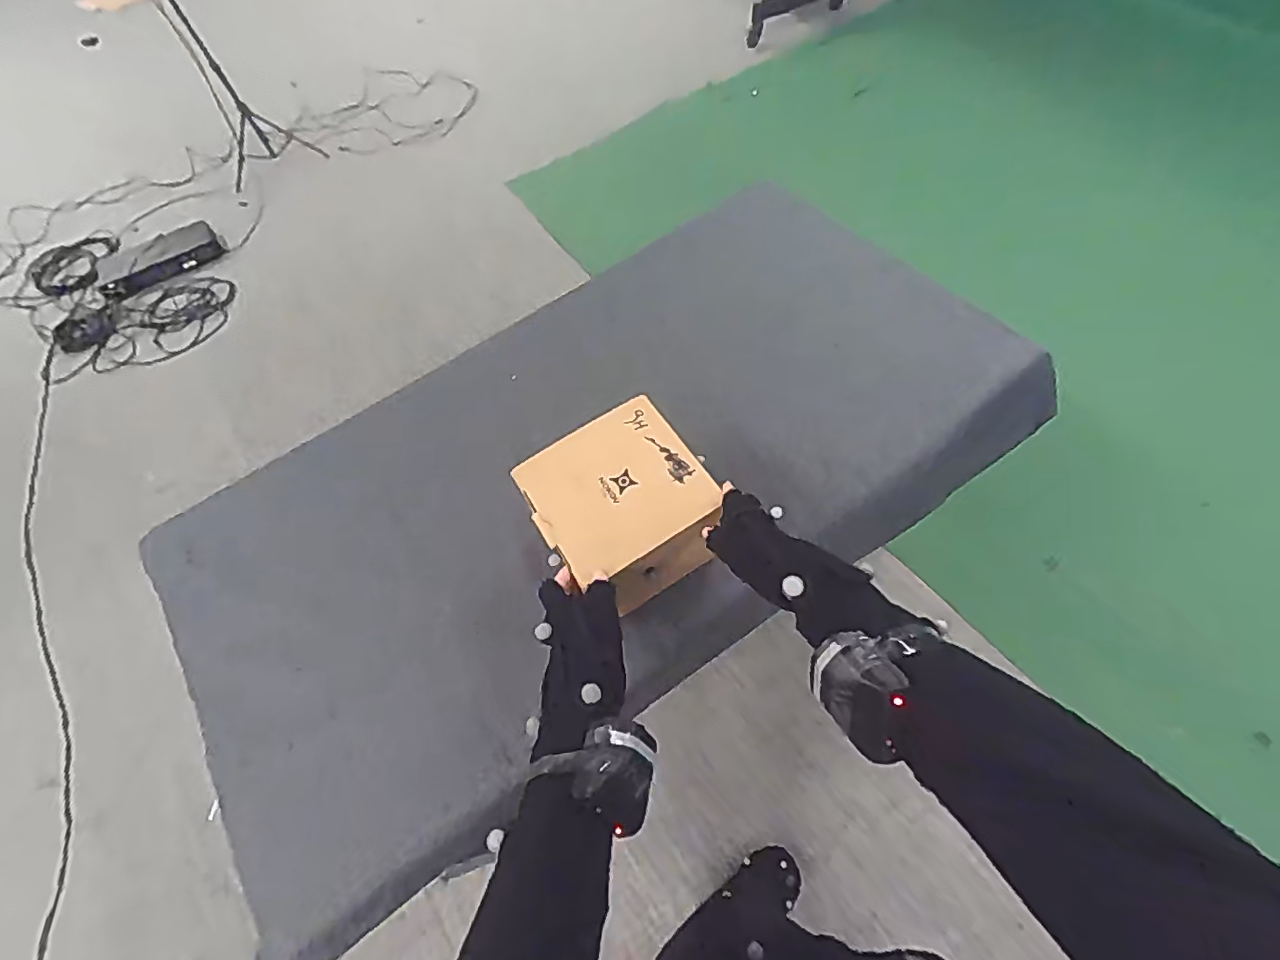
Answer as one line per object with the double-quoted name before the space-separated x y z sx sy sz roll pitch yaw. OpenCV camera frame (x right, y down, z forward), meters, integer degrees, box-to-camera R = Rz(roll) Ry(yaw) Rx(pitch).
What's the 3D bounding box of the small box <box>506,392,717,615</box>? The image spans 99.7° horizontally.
"small box" -0.024 0.037 0.639 0.179 0.176 0.168 -32 66 -9
